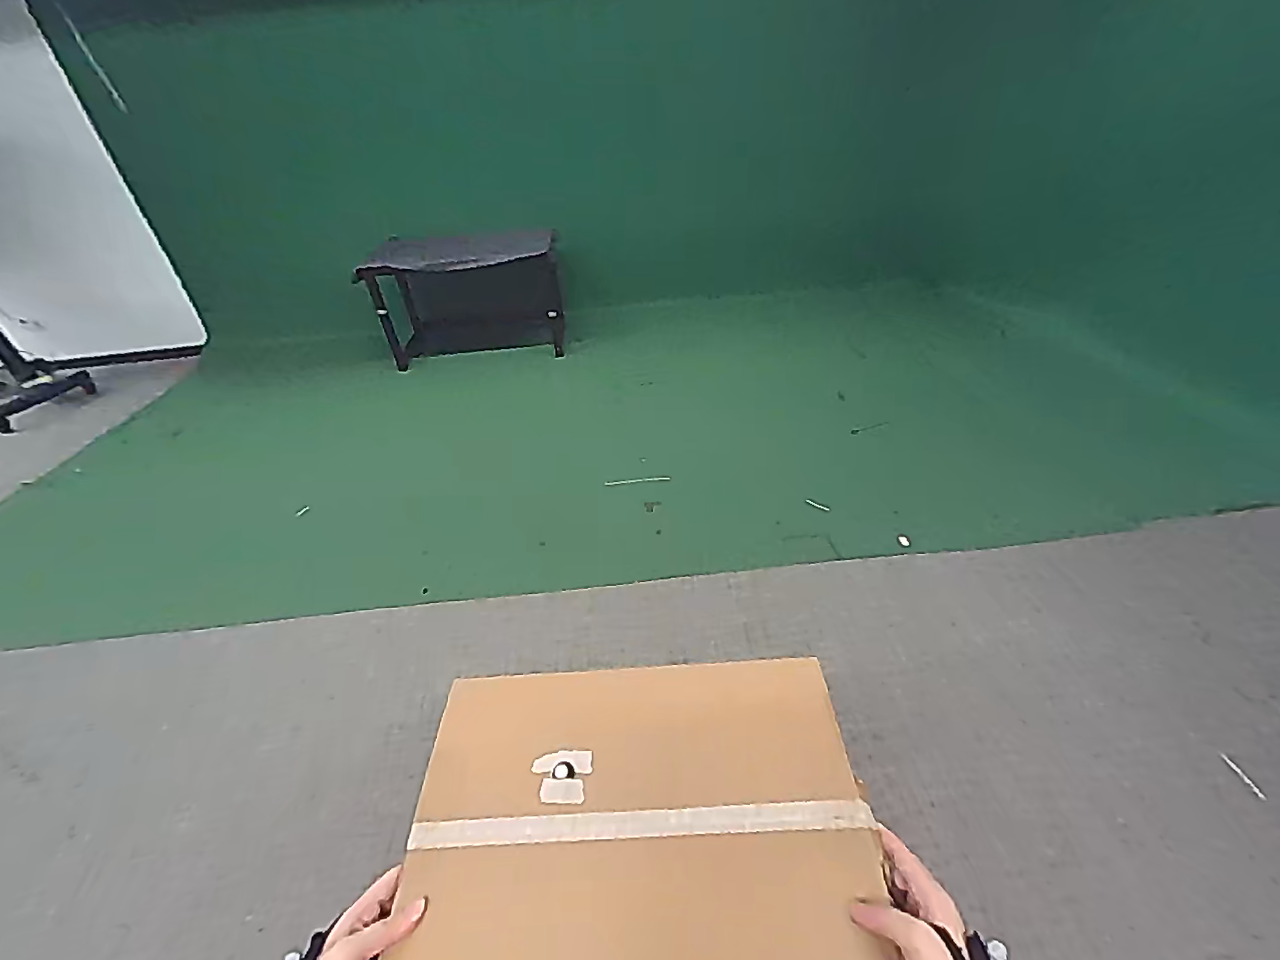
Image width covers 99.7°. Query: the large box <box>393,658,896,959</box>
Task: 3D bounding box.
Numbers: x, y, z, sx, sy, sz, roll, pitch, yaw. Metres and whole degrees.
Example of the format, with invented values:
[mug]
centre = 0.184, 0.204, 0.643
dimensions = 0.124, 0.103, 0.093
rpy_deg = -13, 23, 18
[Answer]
[large box]
centre = 0.013, 0.429, 0.587
dimensions = 0.408, 0.320, 0.320
rpy_deg = -6, 39, 4
